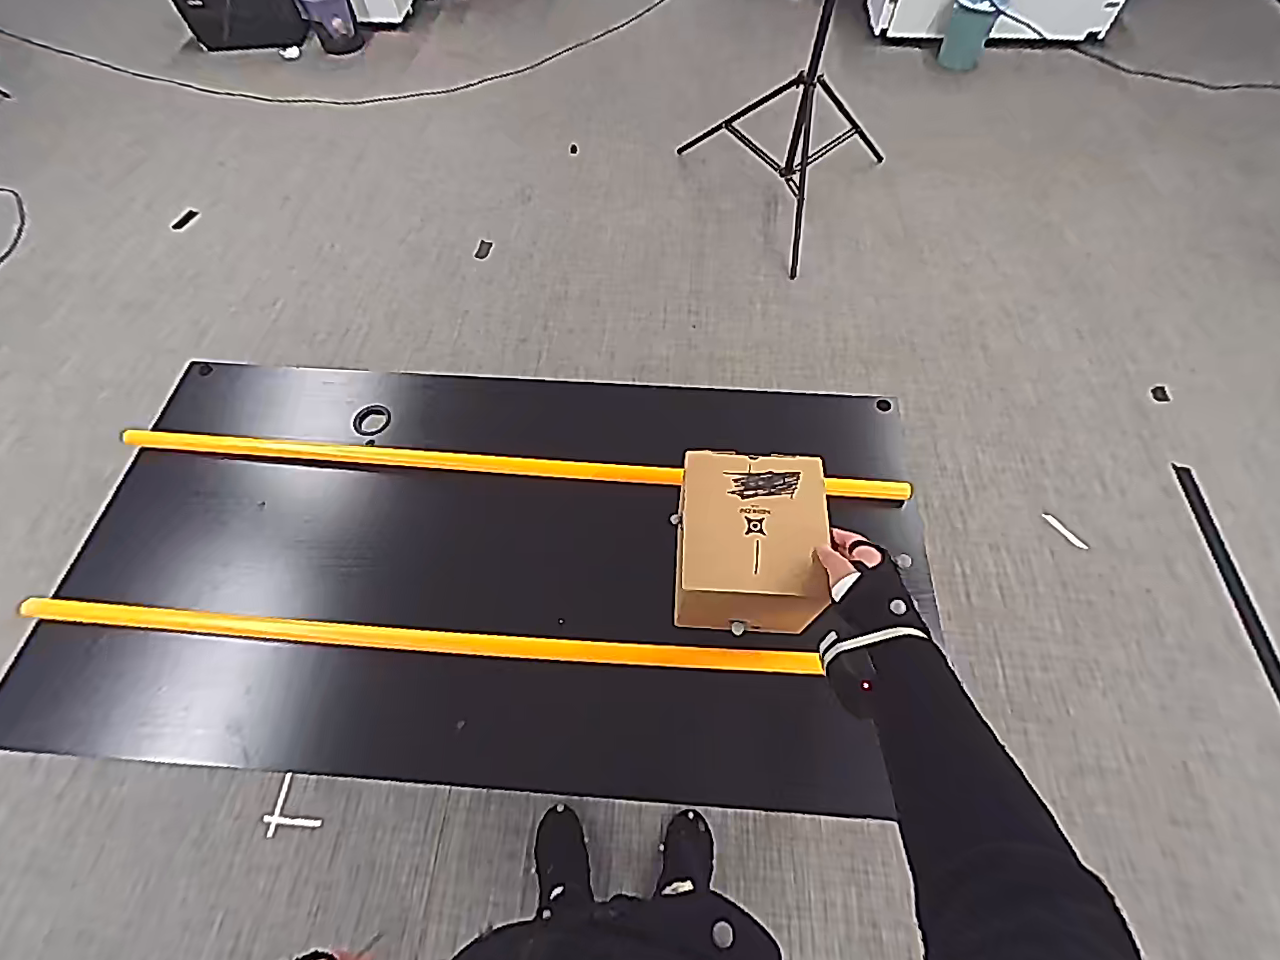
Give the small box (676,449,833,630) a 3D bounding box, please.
[{"bbox_3d":[0.133,0.081,0.693,0.168,0.176,0.179,3,62,3],"label":"small box"}]
